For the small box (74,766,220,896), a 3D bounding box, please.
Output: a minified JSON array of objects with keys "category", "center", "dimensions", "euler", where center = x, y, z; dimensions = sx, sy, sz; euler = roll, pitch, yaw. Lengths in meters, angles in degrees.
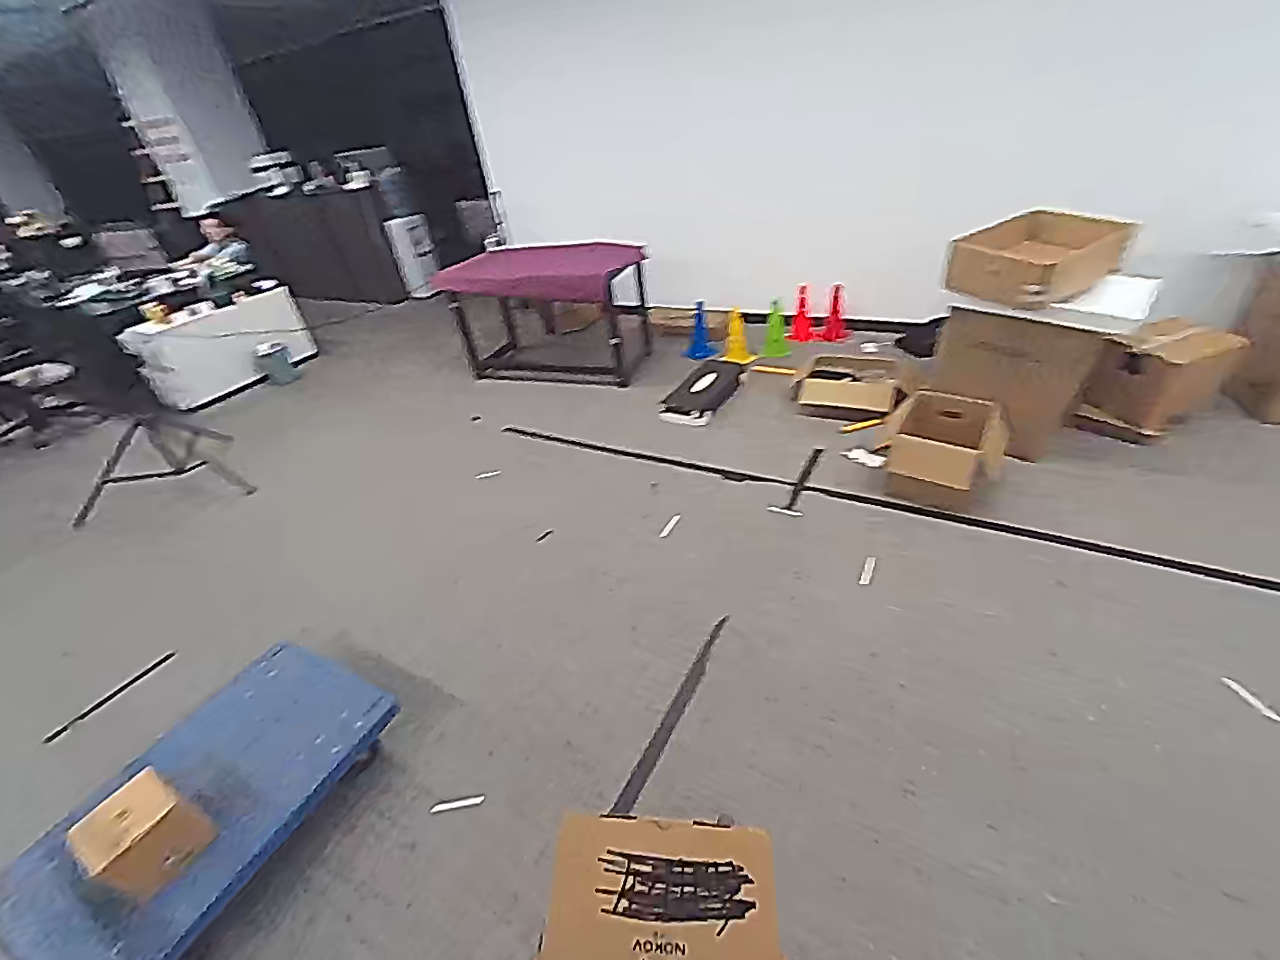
[{"category":"small box","center":[-1.143,0.821,1.264],"dimensions":[0.179,0.176,0.168],"euler":[15,42,29]}]
